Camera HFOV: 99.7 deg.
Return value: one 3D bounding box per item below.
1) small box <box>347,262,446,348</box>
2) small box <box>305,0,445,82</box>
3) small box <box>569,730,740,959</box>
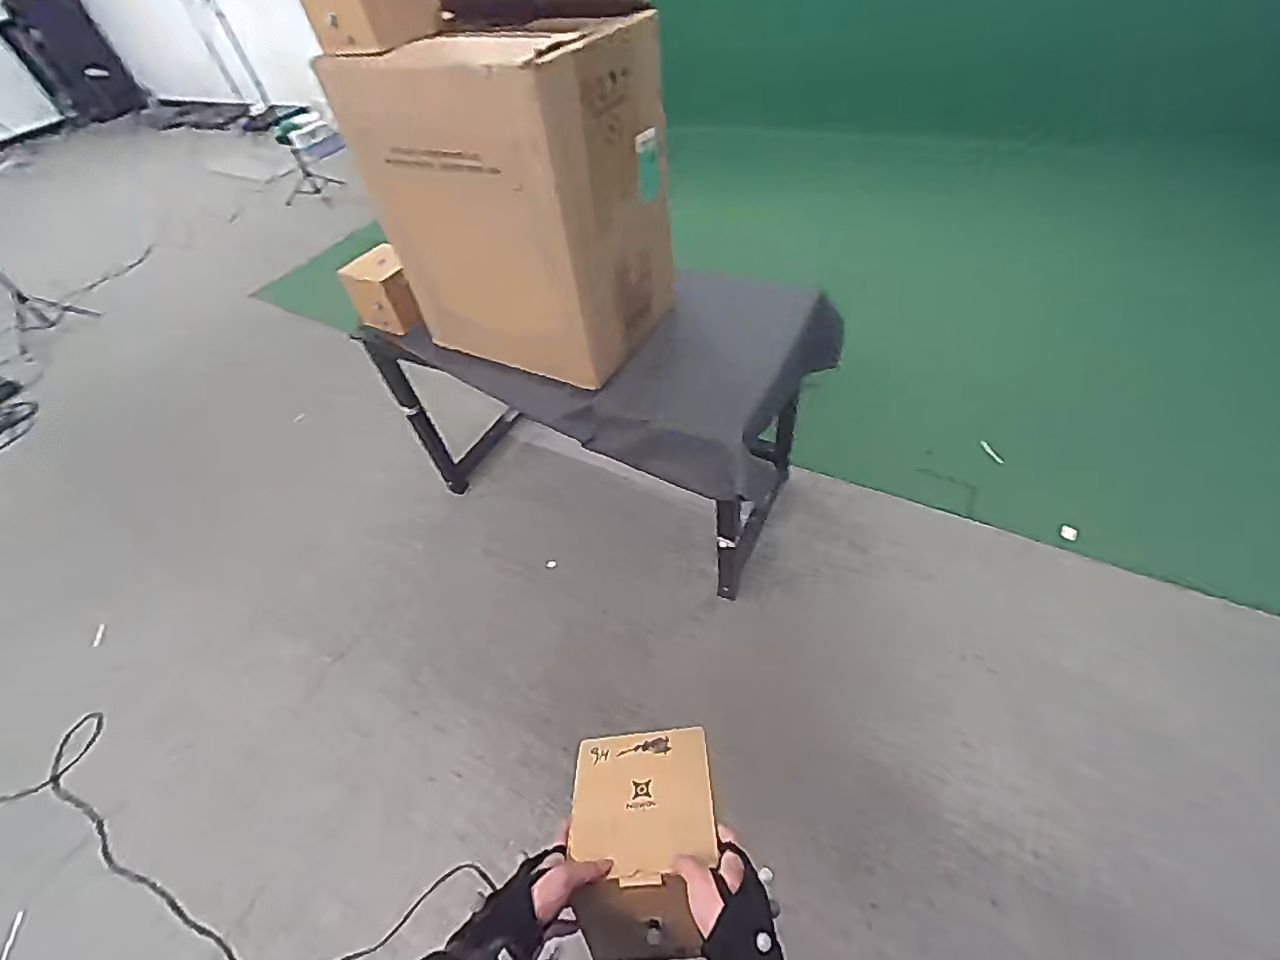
[{"bbox_3d":[-0.698,-0.507,1.574,0.168,0.176,0.179,18,51,21],"label":"small box"},{"bbox_3d":[-0.487,-0.857,0.994,0.168,0.176,0.179,19,54,26],"label":"small box"},{"bbox_3d":[0.021,0.446,0.660,0.168,0.176,0.179,-10,25,4],"label":"small box"}]
